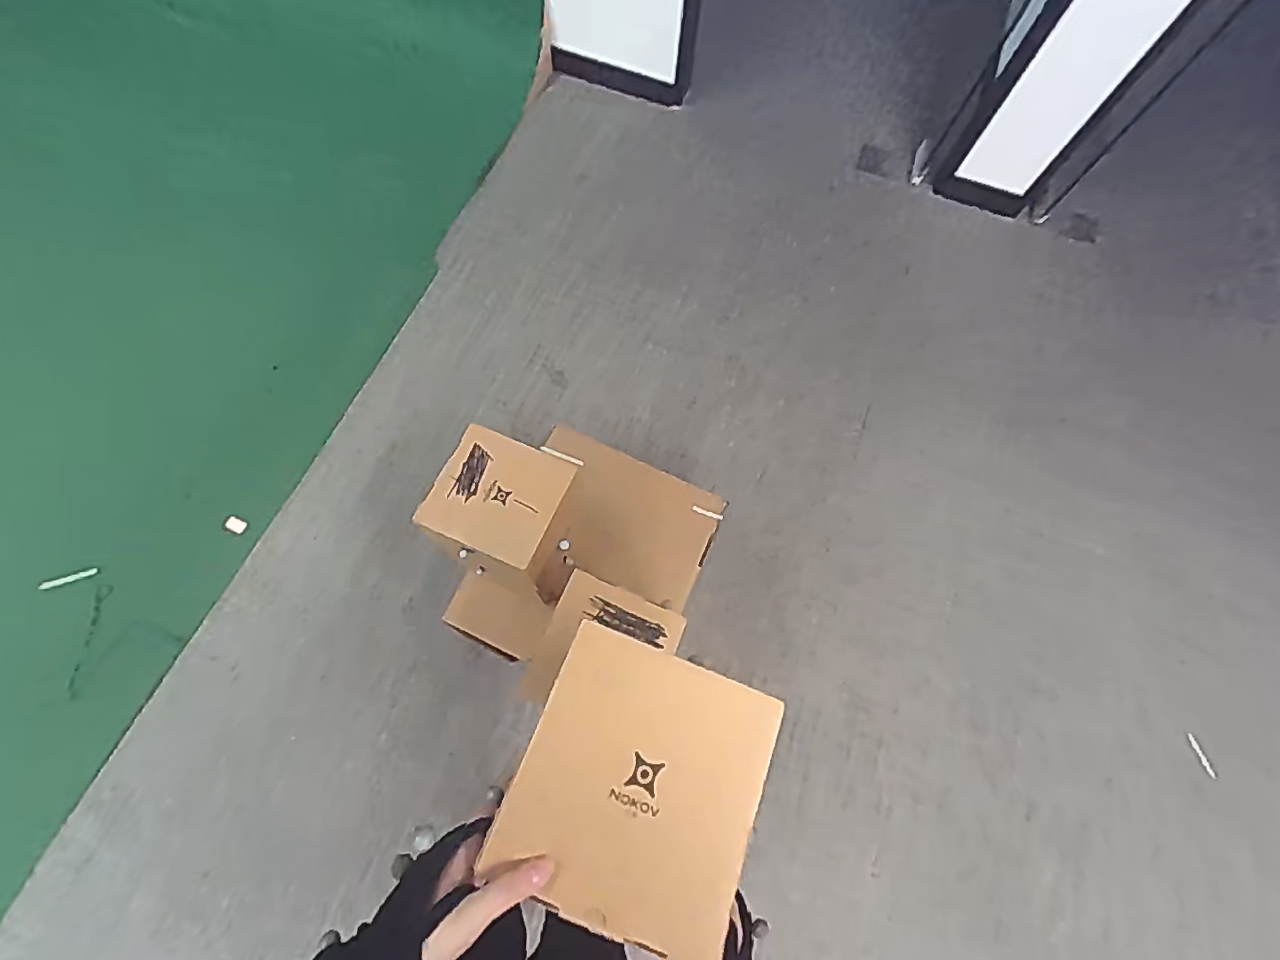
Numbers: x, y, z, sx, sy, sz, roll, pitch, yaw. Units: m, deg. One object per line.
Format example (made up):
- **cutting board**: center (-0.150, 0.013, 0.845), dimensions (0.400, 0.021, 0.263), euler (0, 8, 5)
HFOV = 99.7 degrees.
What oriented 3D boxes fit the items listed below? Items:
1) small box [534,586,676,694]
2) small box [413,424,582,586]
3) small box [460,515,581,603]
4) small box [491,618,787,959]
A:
- **small box**: center (-0.057, 0.299, 0.914), dimensions (0.179, 0.176, 0.168), euler (22, 69, 4)
- **small box**: center (-0.201, 0.047, 0.821), dimensions (0.179, 0.176, 0.168), euler (22, 70, 6)
- **small box**: center (-0.215, 0.102, 0.978), dimensions (0.168, 0.176, 0.179), euler (23, 69, 6)
- **small box**: center (-0.003, 0.234, 0.450), dimensions (0.168, 0.176, 0.179), euler (22, 70, 1)
